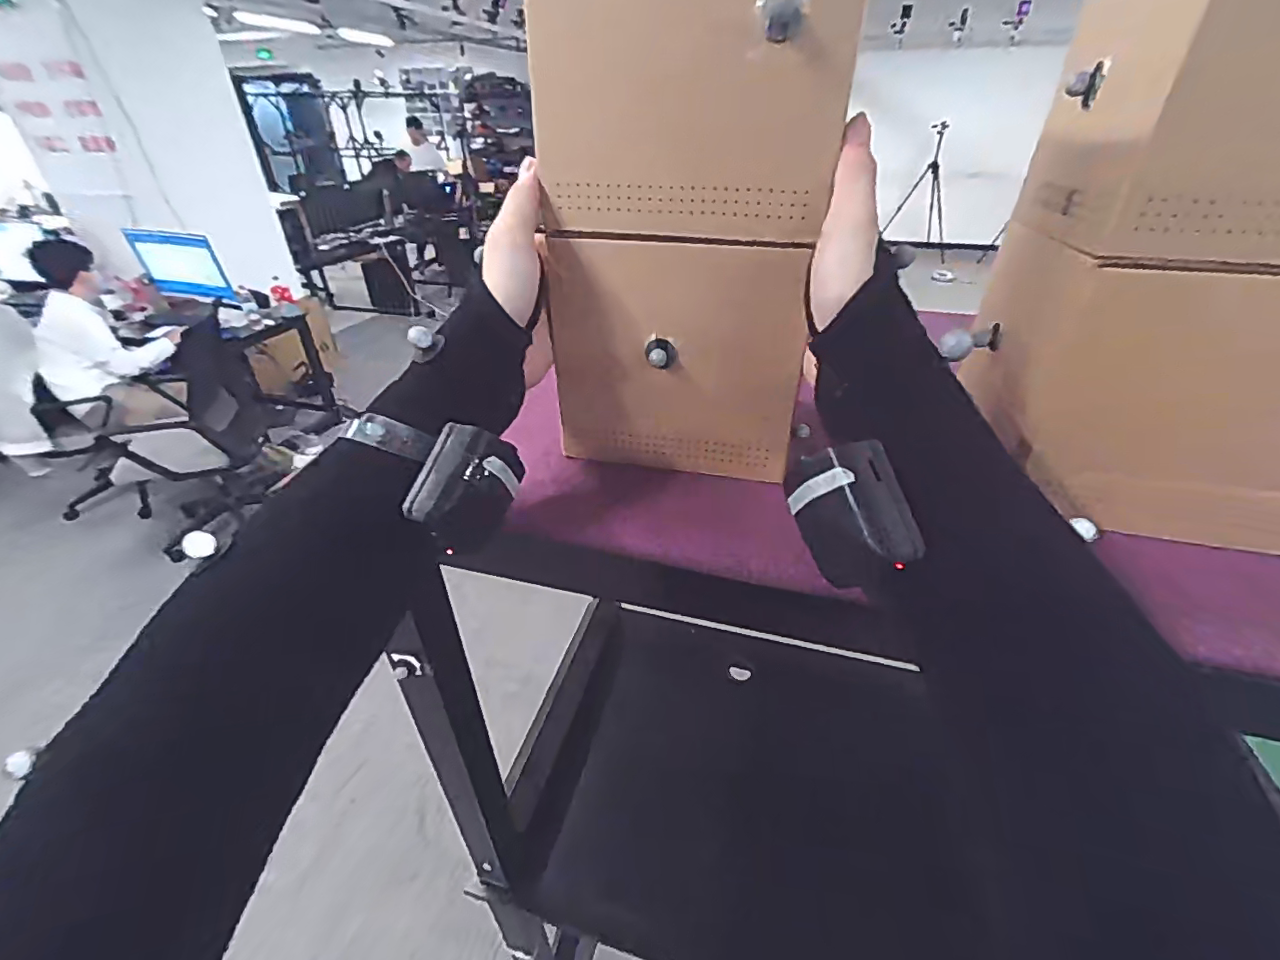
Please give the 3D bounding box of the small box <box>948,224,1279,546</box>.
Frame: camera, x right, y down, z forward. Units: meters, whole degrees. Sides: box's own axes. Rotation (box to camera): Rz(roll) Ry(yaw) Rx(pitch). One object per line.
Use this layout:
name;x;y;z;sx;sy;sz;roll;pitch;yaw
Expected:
small box;0.337;-0.074;0.375;0.179;0.176;0.168;9;34;13
